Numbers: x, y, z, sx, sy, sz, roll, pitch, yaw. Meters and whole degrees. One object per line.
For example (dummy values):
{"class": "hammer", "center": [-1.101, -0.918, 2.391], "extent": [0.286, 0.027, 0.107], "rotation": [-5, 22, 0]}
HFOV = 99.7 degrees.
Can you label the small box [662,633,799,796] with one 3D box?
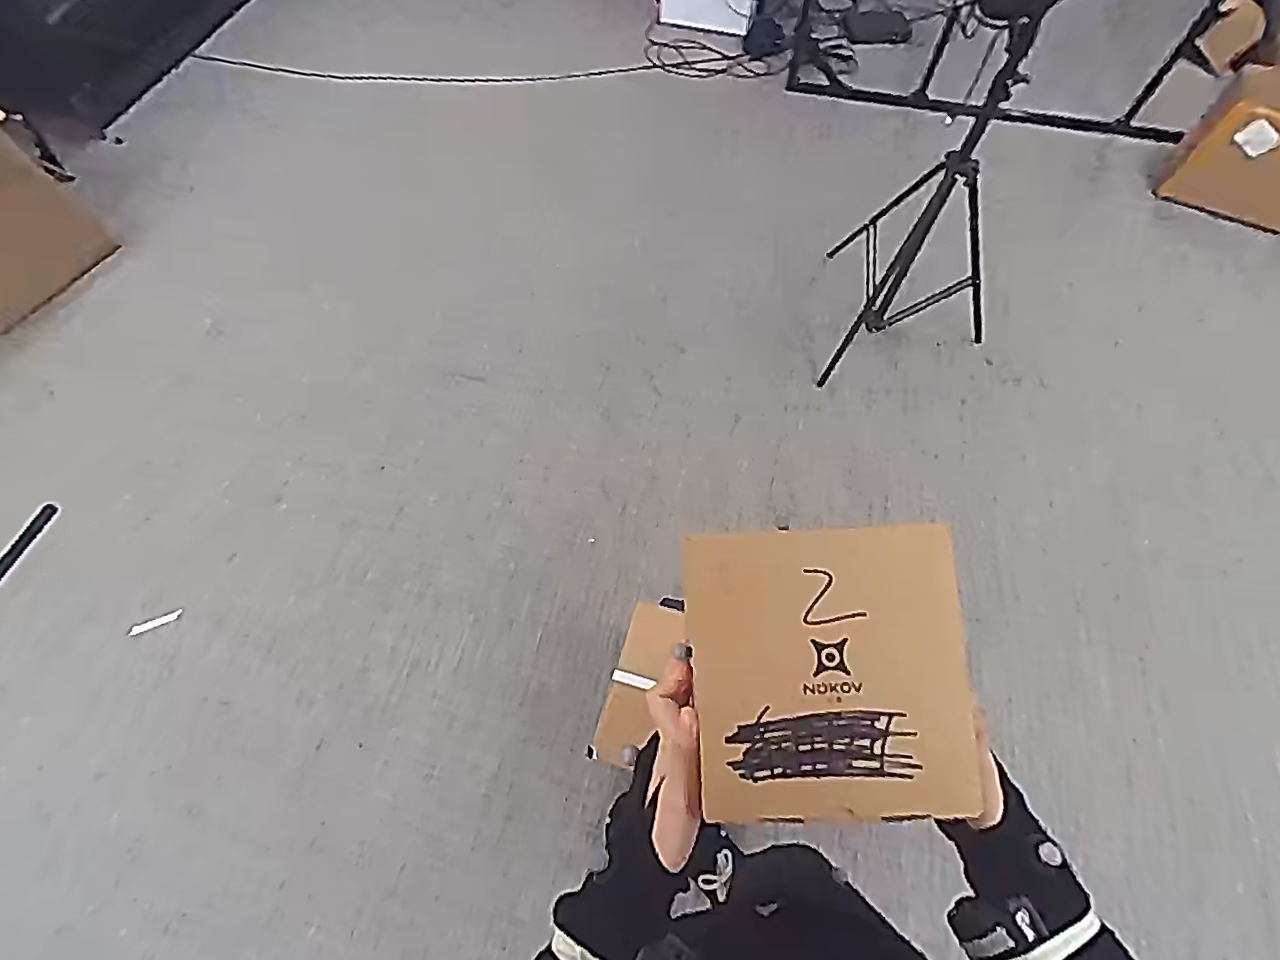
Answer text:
{"class": "small box", "center": [0.130, 0.353, 0.825], "extent": [0.168, 0.176, 0.179], "rotation": [13, 67, 8]}
